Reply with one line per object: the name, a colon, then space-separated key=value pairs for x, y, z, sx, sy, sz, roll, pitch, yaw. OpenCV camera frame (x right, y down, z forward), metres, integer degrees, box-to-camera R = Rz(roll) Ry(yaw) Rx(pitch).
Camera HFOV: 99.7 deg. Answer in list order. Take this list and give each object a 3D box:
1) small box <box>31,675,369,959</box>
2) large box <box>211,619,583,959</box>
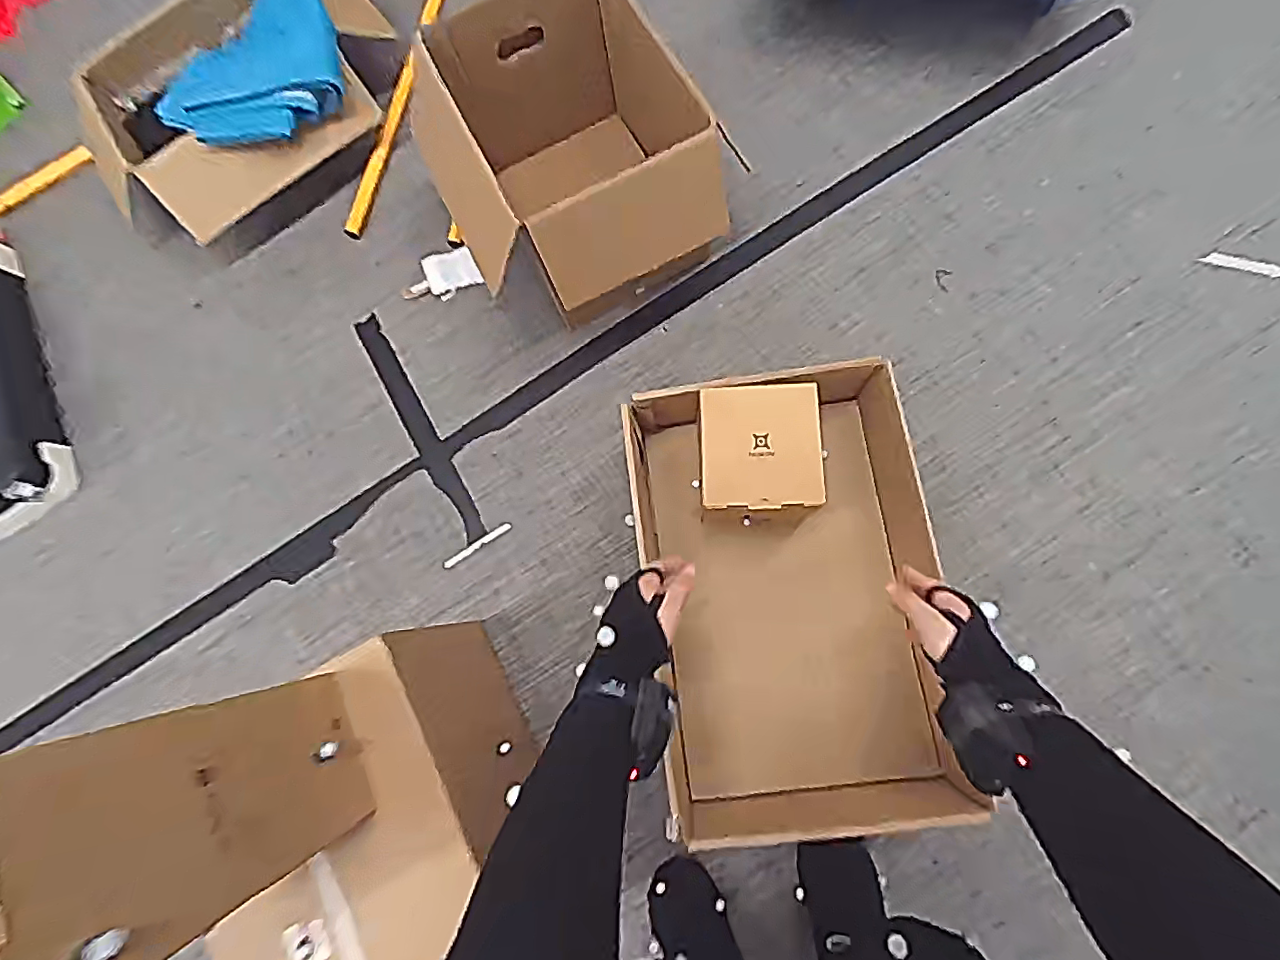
small box: x=-0.413 y=0.316 z=0.533 sx=0.179 sy=0.176 sz=0.168 roll=-27 pitch=79 yaw=0
large box: x=-0.328 y=0.452 z=0.749 sx=0.320 sy=0.320 sz=0.408 roll=-31 pitch=78 yaw=0
